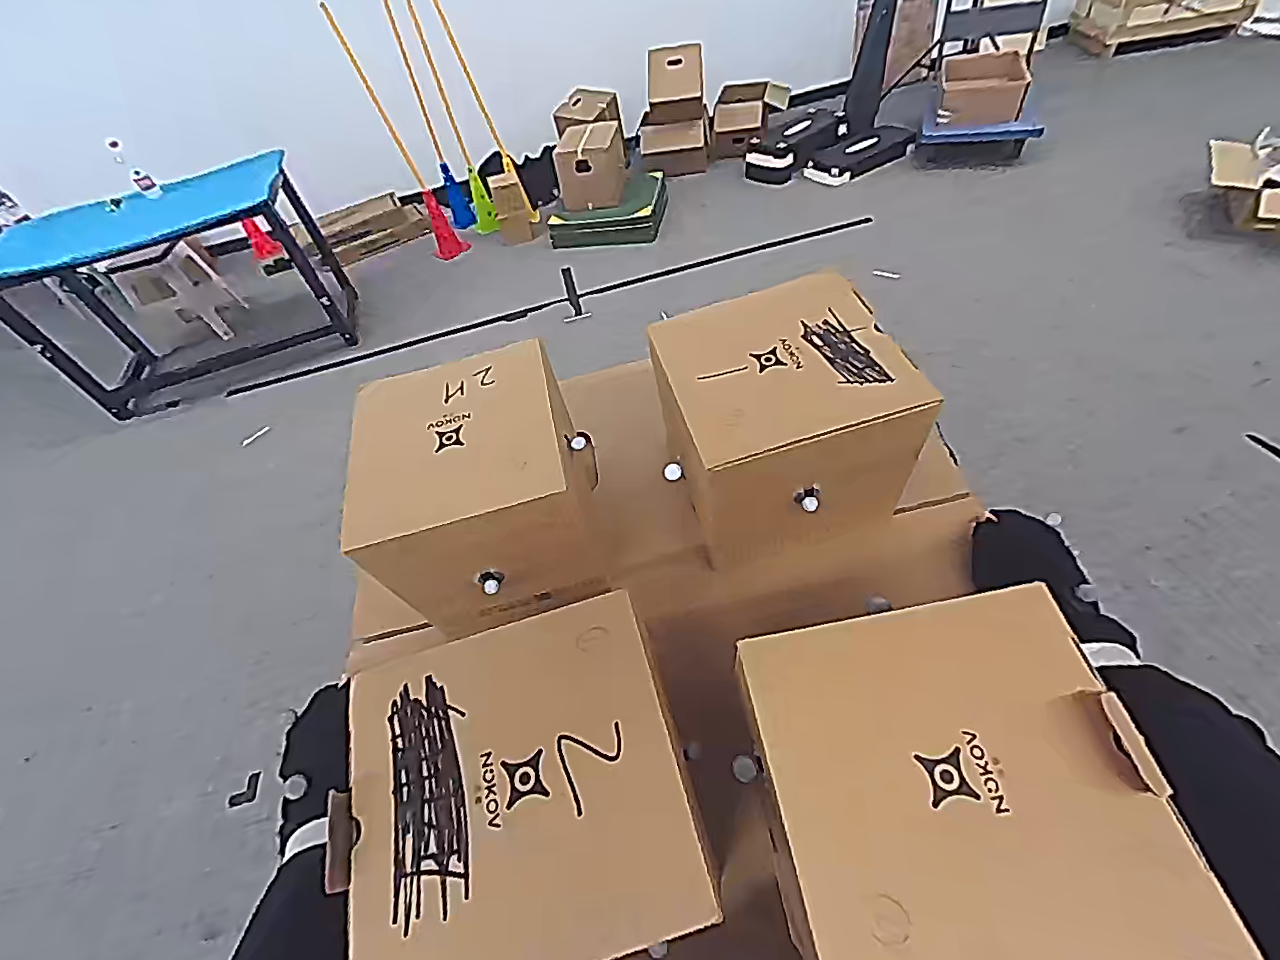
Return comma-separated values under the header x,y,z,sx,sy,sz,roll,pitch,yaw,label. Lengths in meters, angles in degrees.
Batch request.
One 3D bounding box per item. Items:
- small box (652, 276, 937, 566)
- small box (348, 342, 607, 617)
x,y,z,sx,sy,sz,roll,pitch,yaw,label
0.120,-0.045,0.487,0.179,0.176,0.168,-16,55,0,small box
-0.134,0.010,0.496,0.168,0.176,0.179,-14,54,0,small box
